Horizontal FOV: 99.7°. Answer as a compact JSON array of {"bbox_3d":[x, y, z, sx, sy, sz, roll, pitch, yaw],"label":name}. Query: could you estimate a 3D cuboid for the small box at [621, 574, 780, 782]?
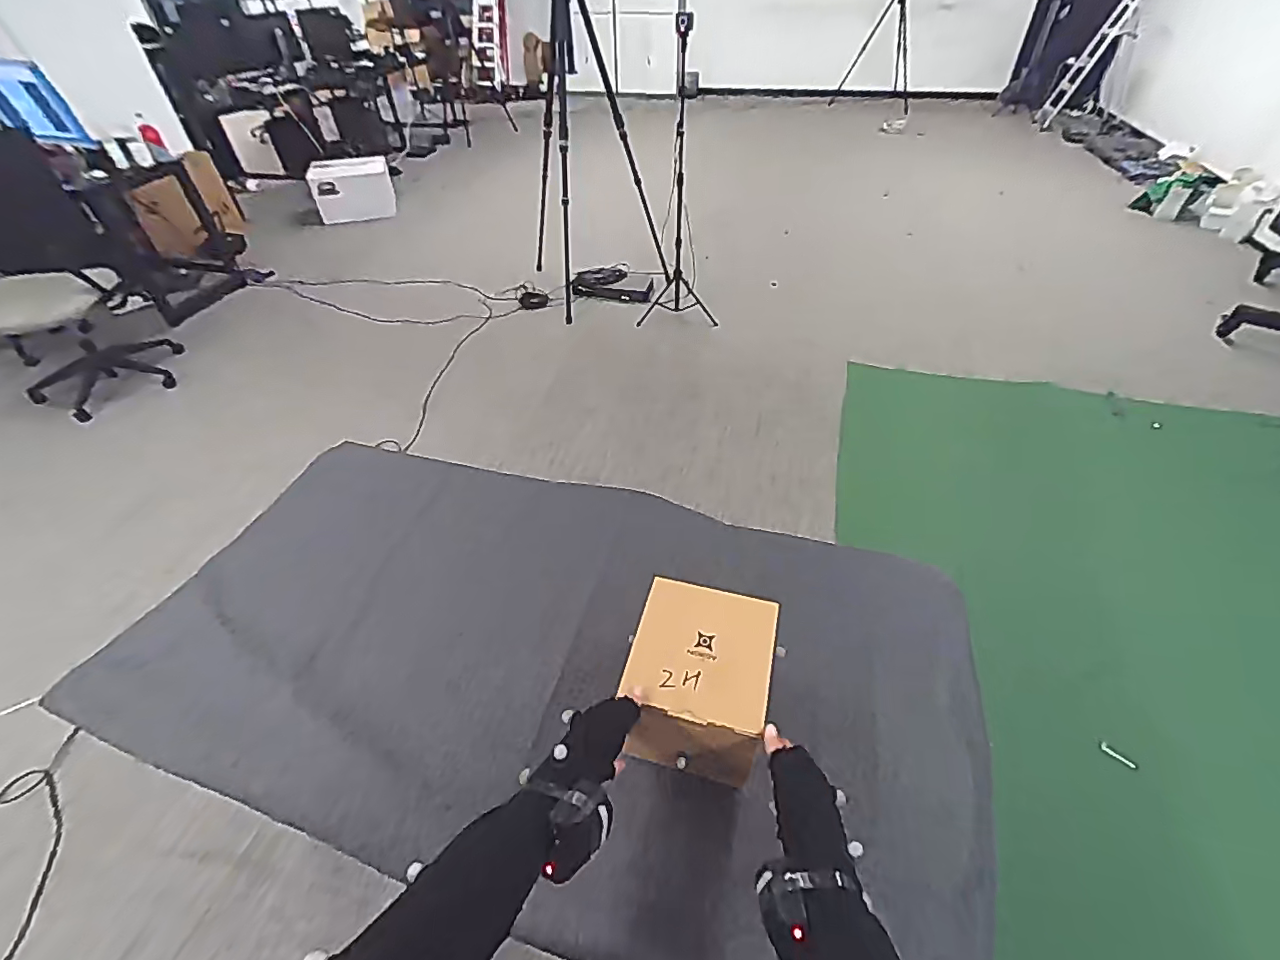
[{"bbox_3d":[0.079,0.257,0.706,0.168,0.176,0.179,11,45,13],"label":"small box"}]
